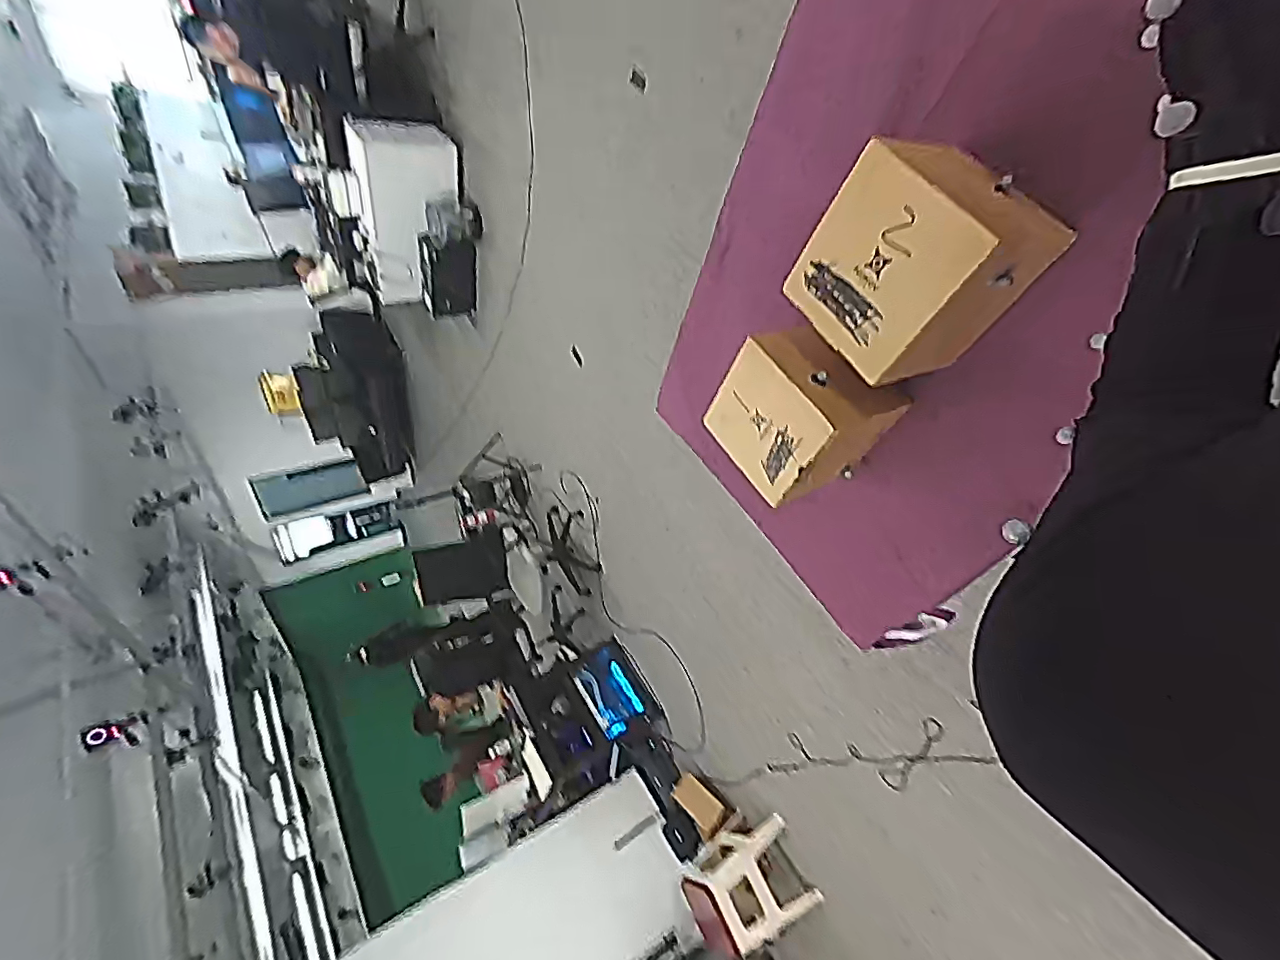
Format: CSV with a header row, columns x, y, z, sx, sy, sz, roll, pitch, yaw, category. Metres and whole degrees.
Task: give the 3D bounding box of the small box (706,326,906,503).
x,y,z,sx,sy,sz,roll,pitch,yaw,category
0.231,-0.100,0.768,0.179,0.176,0.168,56,145,25,small box
